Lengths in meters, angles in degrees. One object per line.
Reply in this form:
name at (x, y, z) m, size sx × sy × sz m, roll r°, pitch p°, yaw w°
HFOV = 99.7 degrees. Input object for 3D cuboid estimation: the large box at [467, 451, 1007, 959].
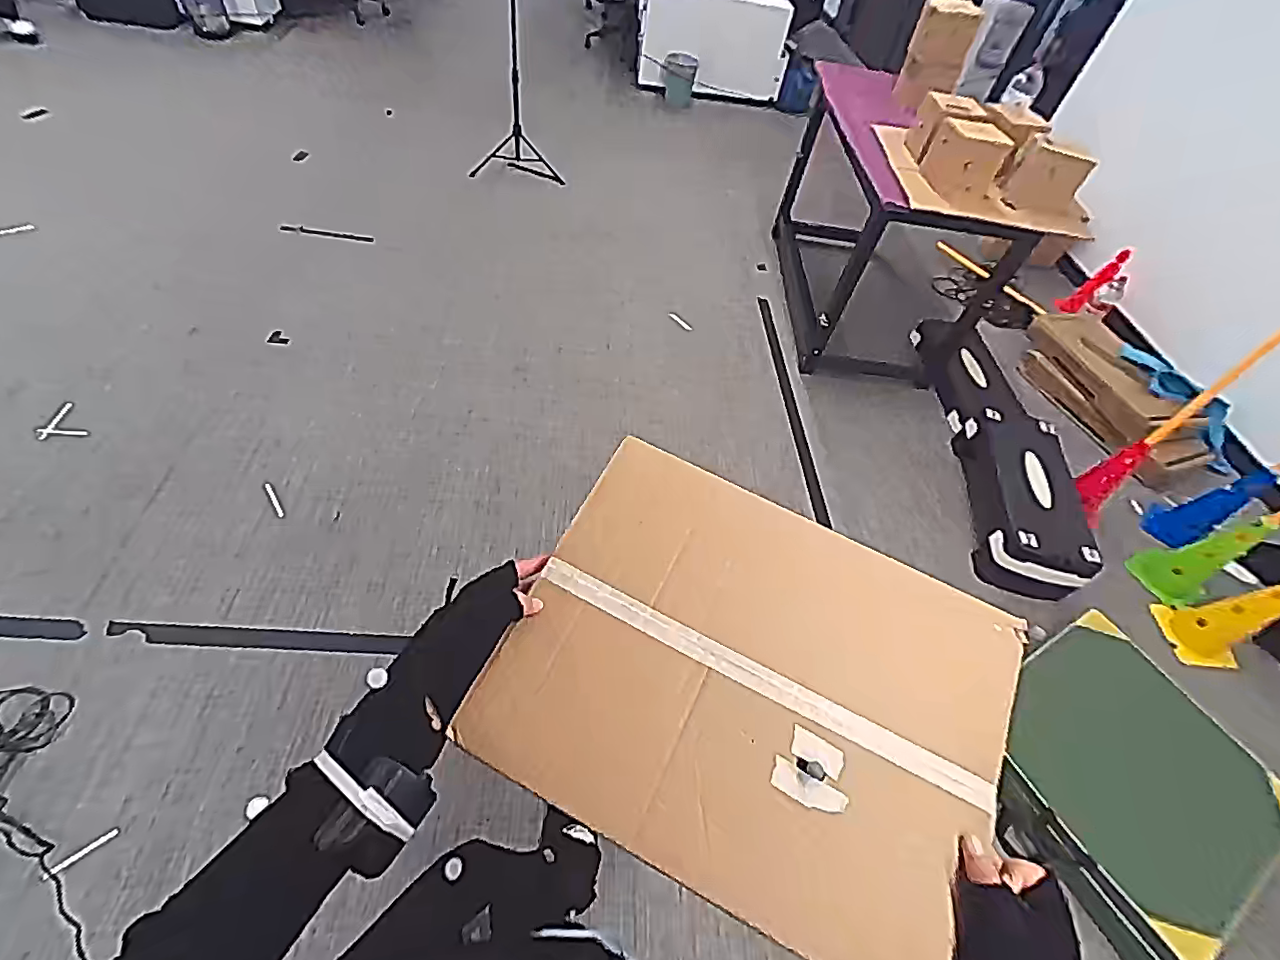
large box at (0.090, 0.234, 0.604) m, size 0.408 × 0.320 × 0.320 m, roll 26°, pitch 66°, yaw 9°
